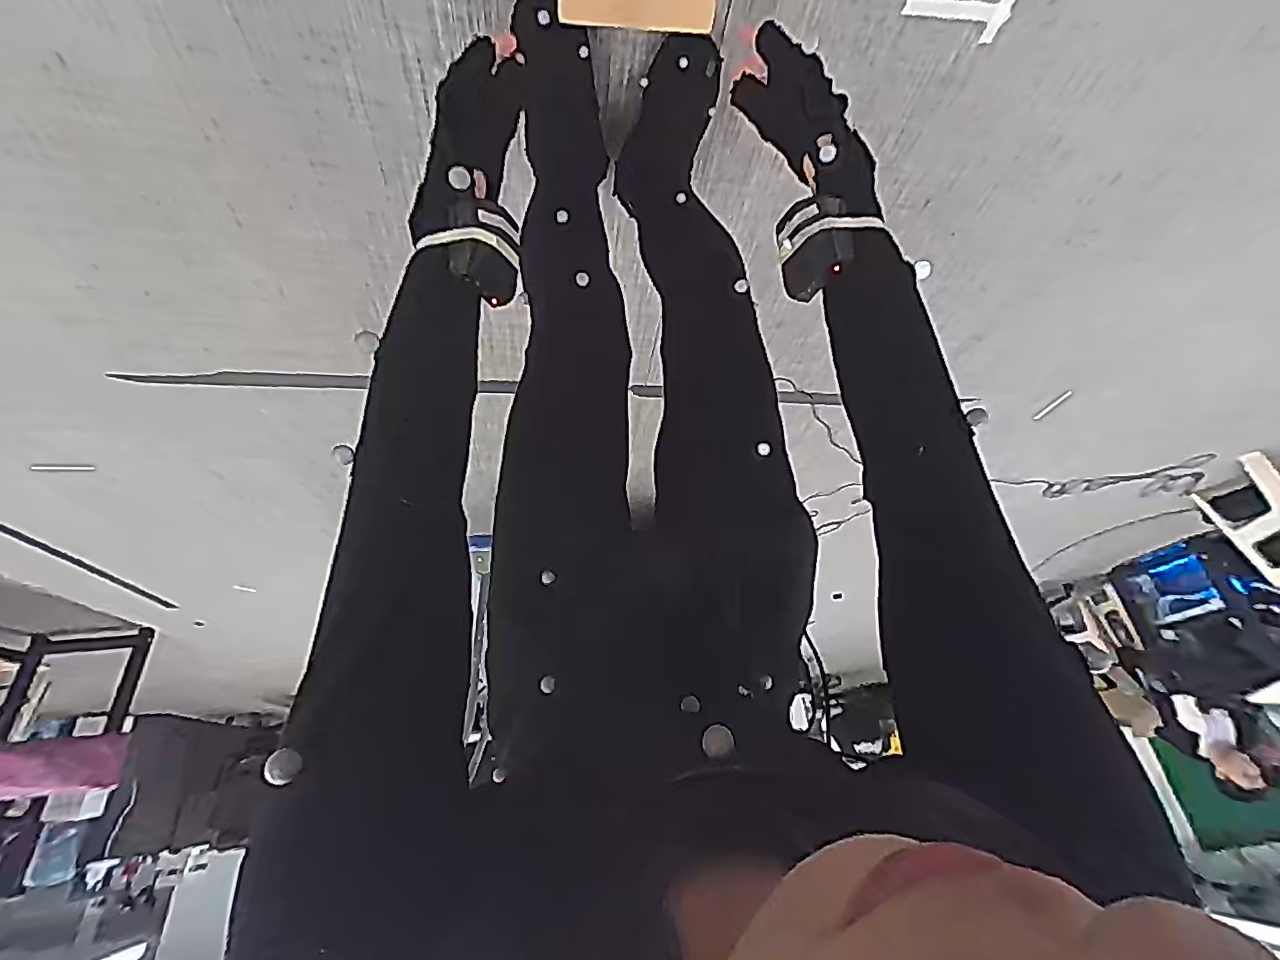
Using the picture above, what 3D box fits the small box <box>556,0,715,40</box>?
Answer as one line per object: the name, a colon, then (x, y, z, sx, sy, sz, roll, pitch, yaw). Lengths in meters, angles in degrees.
small box: (-0.005, -0.615, 0.583, 0.179, 0.176, 0.168, -1, 149, -6)
